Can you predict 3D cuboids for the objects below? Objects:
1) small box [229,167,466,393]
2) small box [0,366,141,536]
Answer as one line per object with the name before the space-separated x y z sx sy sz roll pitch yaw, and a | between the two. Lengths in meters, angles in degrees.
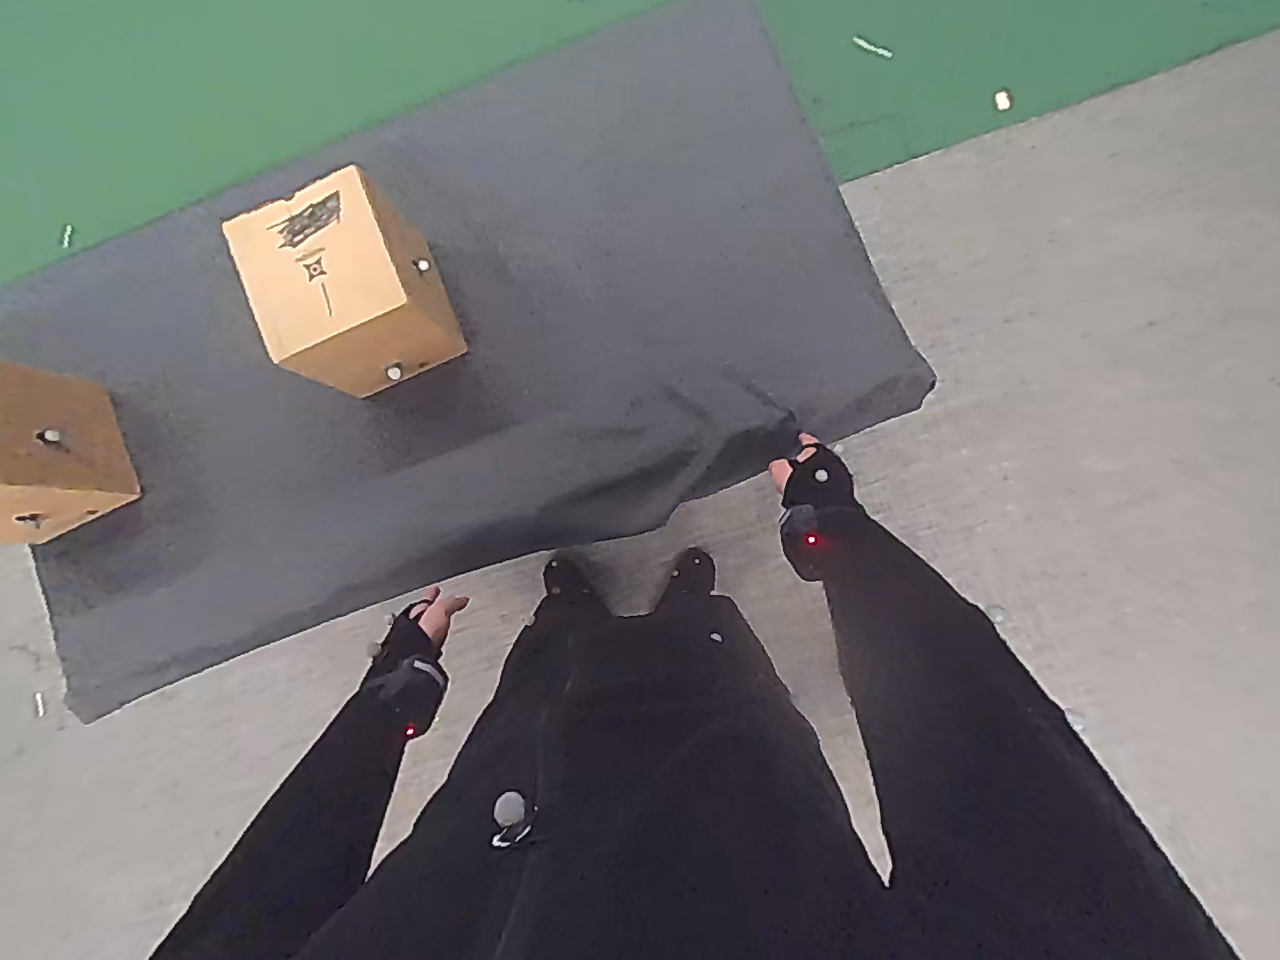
small box | -0.345 -0.231 0.668 0.168 0.176 0.179 -23 85 3
small box | -0.803 -0.033 0.691 0.168 0.176 0.179 -25 84 2
